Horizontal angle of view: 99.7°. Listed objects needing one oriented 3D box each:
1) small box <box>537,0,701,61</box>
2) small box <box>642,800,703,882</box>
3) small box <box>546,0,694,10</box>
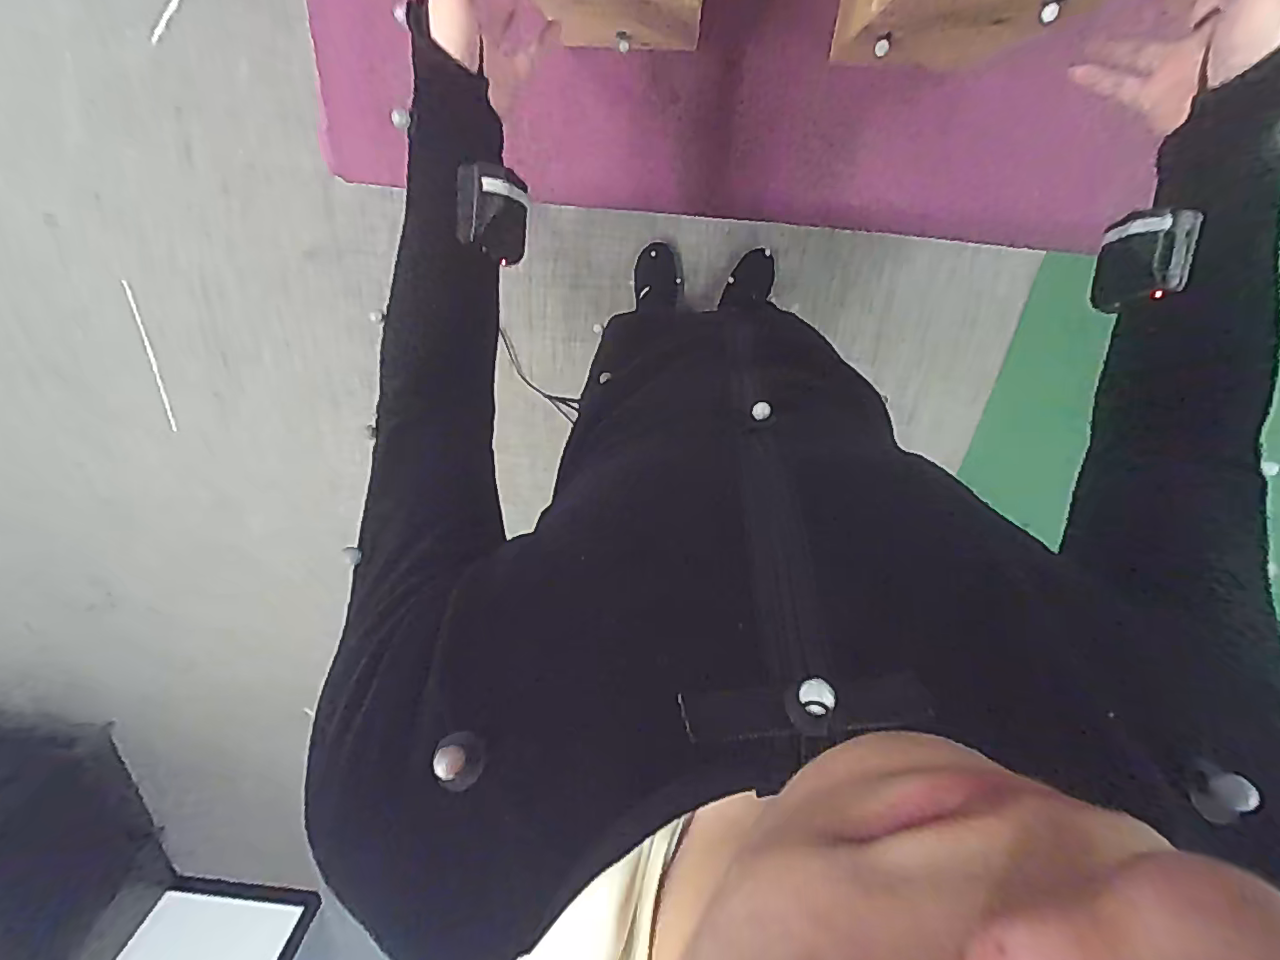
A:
[{"bbox_3d":[-0.014,-0.564,0.552,0.168,0.176,0.179,5,116,2],"label":"small box"},{"bbox_3d":[0.108,1.228,1.847,0.179,0.176,0.168,10,116,-2],"label":"small box"},{"bbox_3d":[-0.024,-0.496,0.405,0.168,0.176,0.179,4,117,1],"label":"small box"}]
